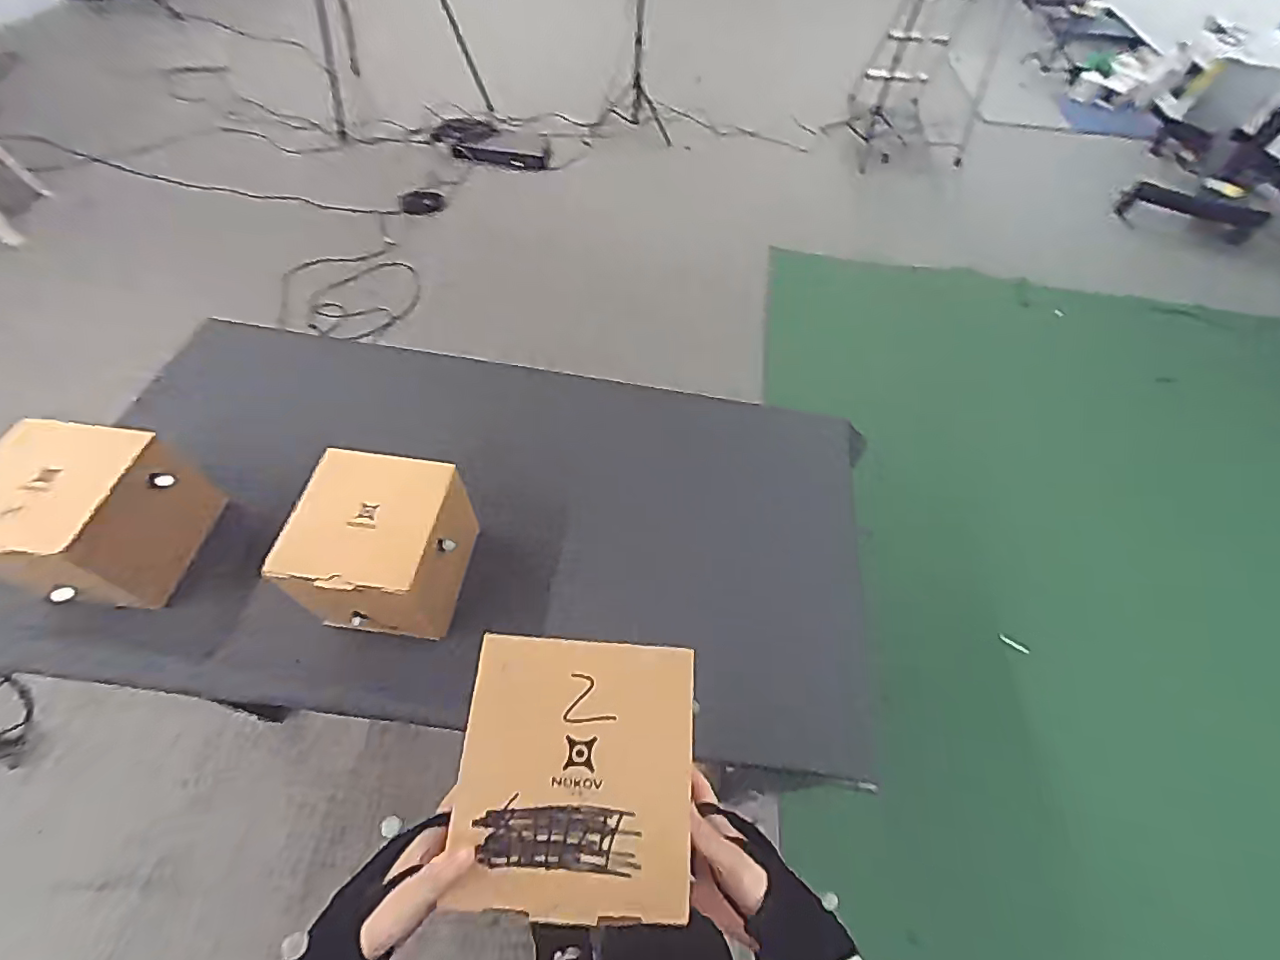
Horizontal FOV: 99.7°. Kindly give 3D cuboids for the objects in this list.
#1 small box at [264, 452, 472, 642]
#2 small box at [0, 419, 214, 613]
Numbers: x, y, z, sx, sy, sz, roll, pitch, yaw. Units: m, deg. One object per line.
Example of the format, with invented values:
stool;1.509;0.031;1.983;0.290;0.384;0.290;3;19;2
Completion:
small box;-0.328;0.091;0.700;0.168;0.176;0.179;8;56;0
small box;-0.700;0.050;0.691;0.168;0.176;0.179;7;56;0
